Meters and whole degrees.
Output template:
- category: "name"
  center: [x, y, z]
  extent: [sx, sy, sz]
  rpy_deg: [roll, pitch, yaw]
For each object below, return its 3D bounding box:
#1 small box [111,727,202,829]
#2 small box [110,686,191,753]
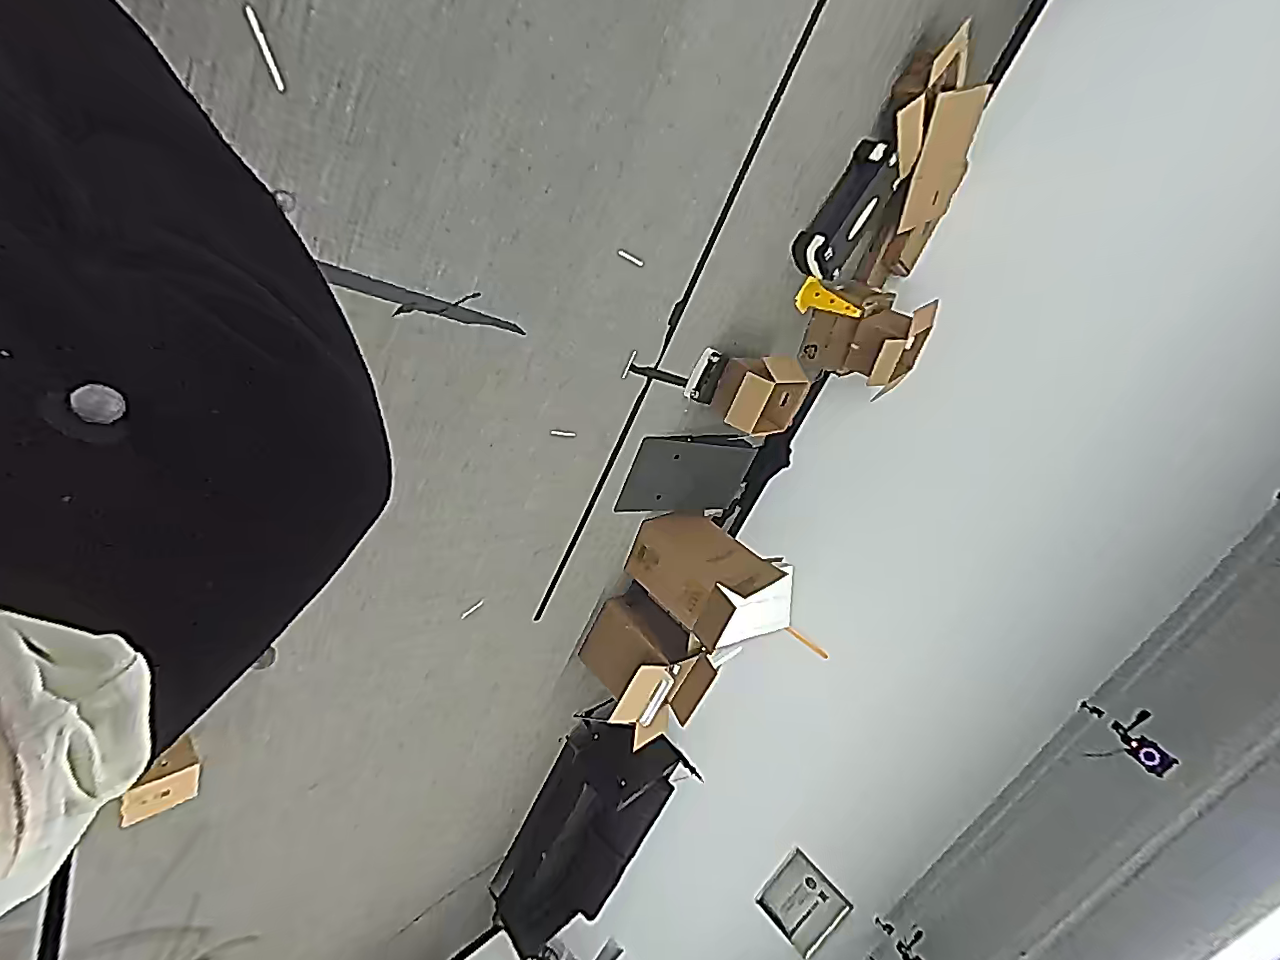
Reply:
- category: "small box"
  center: [-1.459, 0.888, 1.632]
  extent: [0.179, 0.176, 0.168]
  rpy_deg: [-7, 128, -51]
- category: "small box"
  center: [-1.562, 0.799, 1.724]
  extent: [0.168, 0.176, 0.179]
  rpy_deg: [-6, 126, -52]
